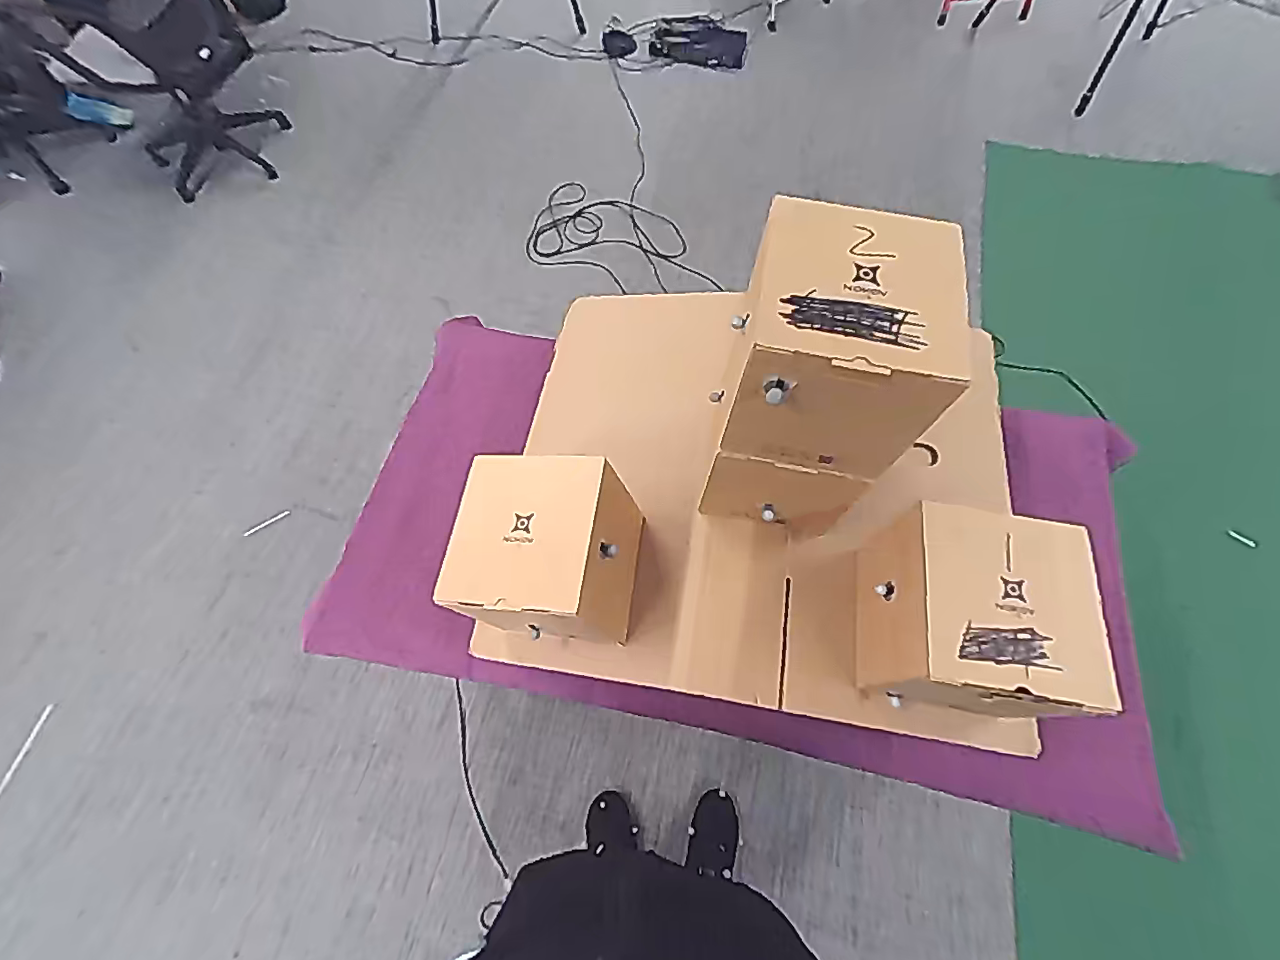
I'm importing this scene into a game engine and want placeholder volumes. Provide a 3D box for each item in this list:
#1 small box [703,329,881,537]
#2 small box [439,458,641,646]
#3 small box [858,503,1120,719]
[{"bbox_3d":[0.177,-0.050,0.660,0.168,0.176,0.179,11,65,4],"label":"small box"},{"bbox_3d":[-0.101,0.088,0.642,0.168,0.176,0.179,1,66,16],"label":"small box"},{"bbox_3d":[0.346,0.148,0.575,0.168,0.176,0.179,10,65,3],"label":"small box"}]
